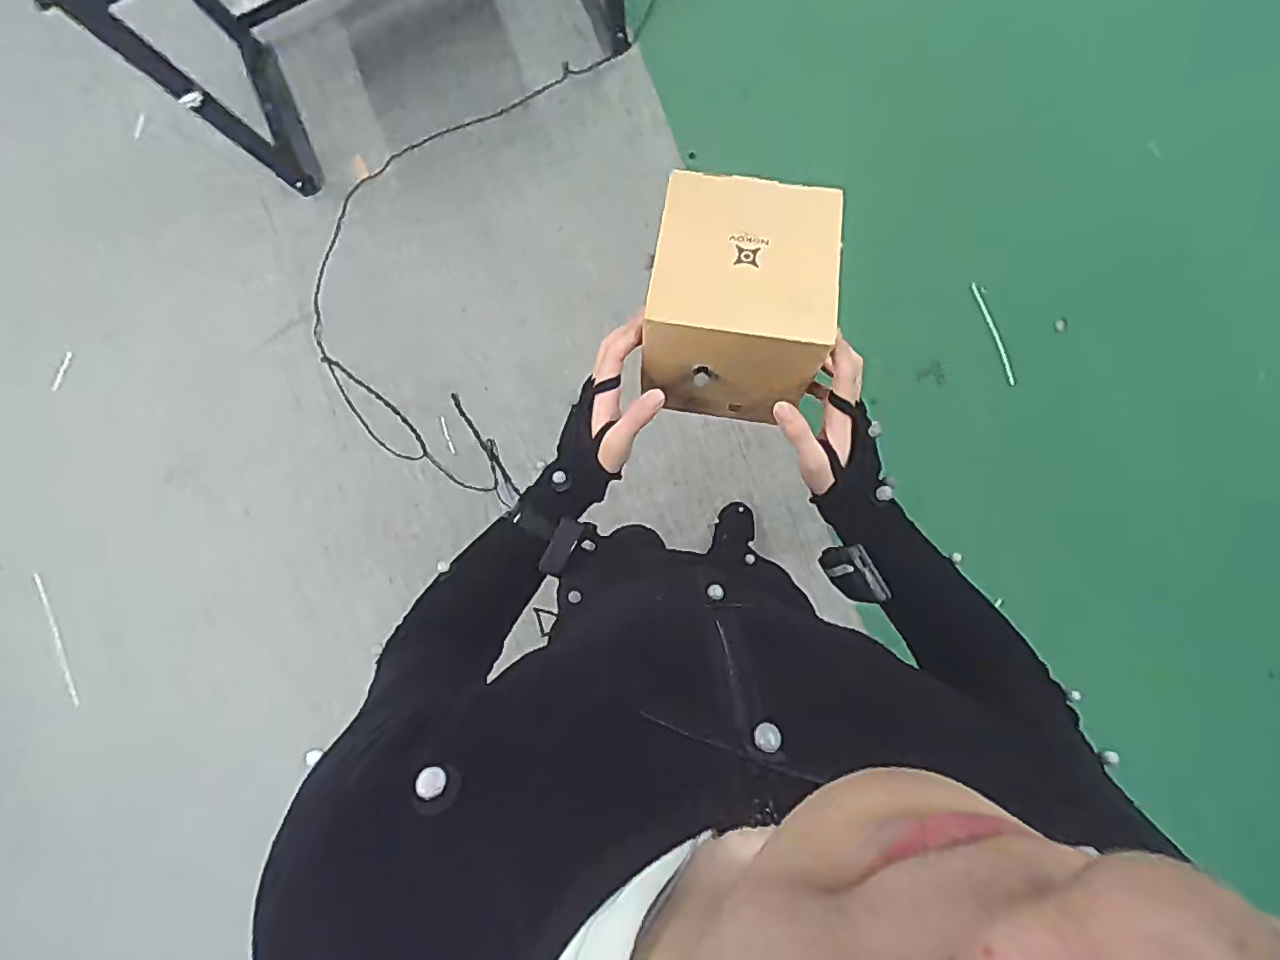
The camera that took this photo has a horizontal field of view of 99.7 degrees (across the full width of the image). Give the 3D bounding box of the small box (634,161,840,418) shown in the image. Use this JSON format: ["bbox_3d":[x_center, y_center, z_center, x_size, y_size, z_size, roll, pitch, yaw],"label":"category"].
[{"bbox_3d":[0.090,-0.181,0.551,0.168,0.176,0.179,9,70,3],"label":"small box"}]
